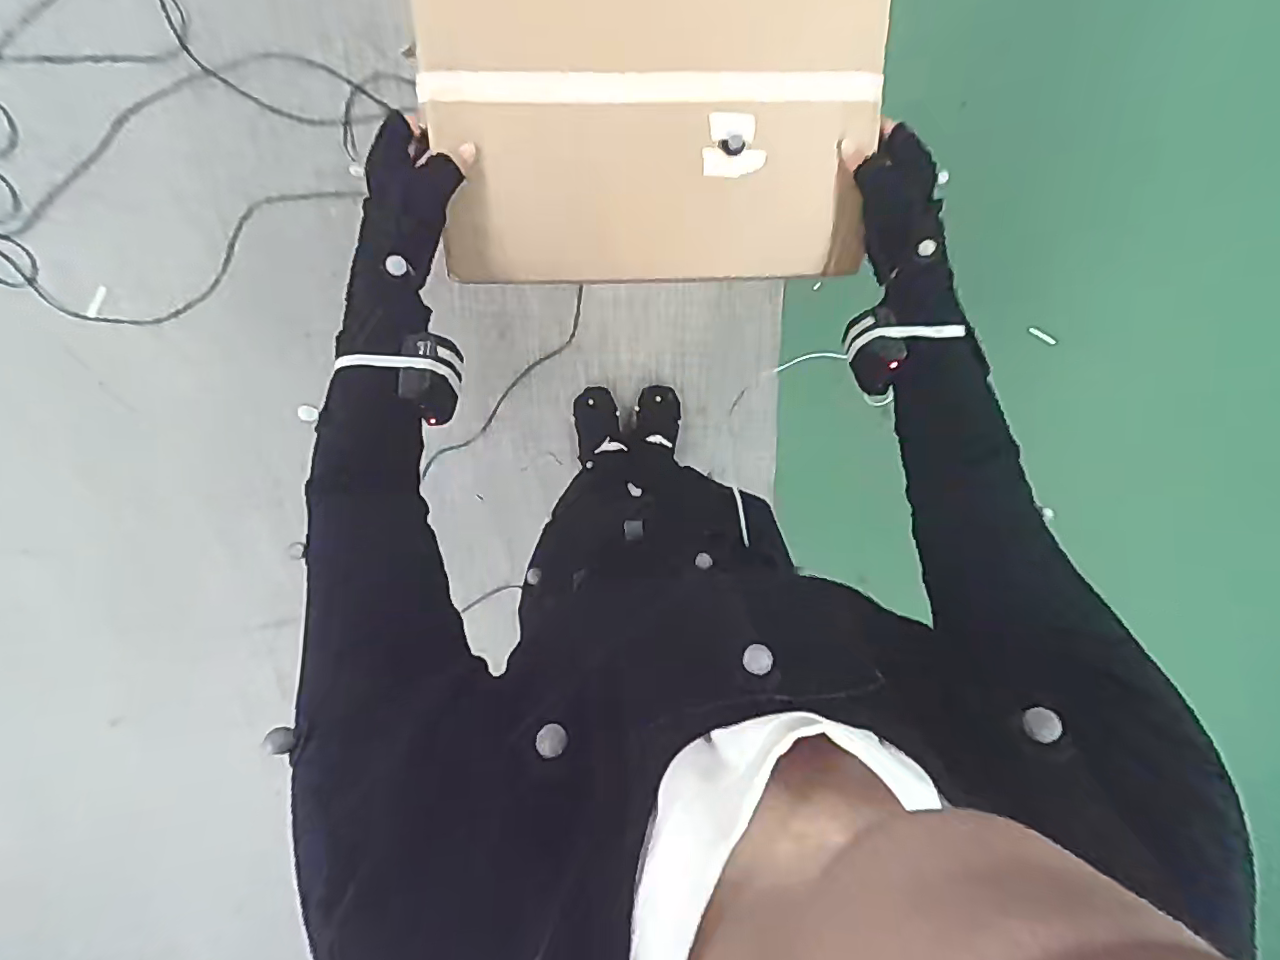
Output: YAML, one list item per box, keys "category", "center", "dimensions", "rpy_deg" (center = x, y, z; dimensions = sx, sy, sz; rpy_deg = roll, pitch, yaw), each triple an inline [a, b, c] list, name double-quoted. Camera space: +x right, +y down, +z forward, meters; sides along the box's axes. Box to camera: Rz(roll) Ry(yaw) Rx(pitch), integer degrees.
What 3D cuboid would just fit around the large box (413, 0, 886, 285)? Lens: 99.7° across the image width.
- category: "large box"
  center: [0.001, -0.395, 0.610]
  dimensions: [0.408, 0.320, 0.320]
  rpy_deg: [-3, 110, -4]
